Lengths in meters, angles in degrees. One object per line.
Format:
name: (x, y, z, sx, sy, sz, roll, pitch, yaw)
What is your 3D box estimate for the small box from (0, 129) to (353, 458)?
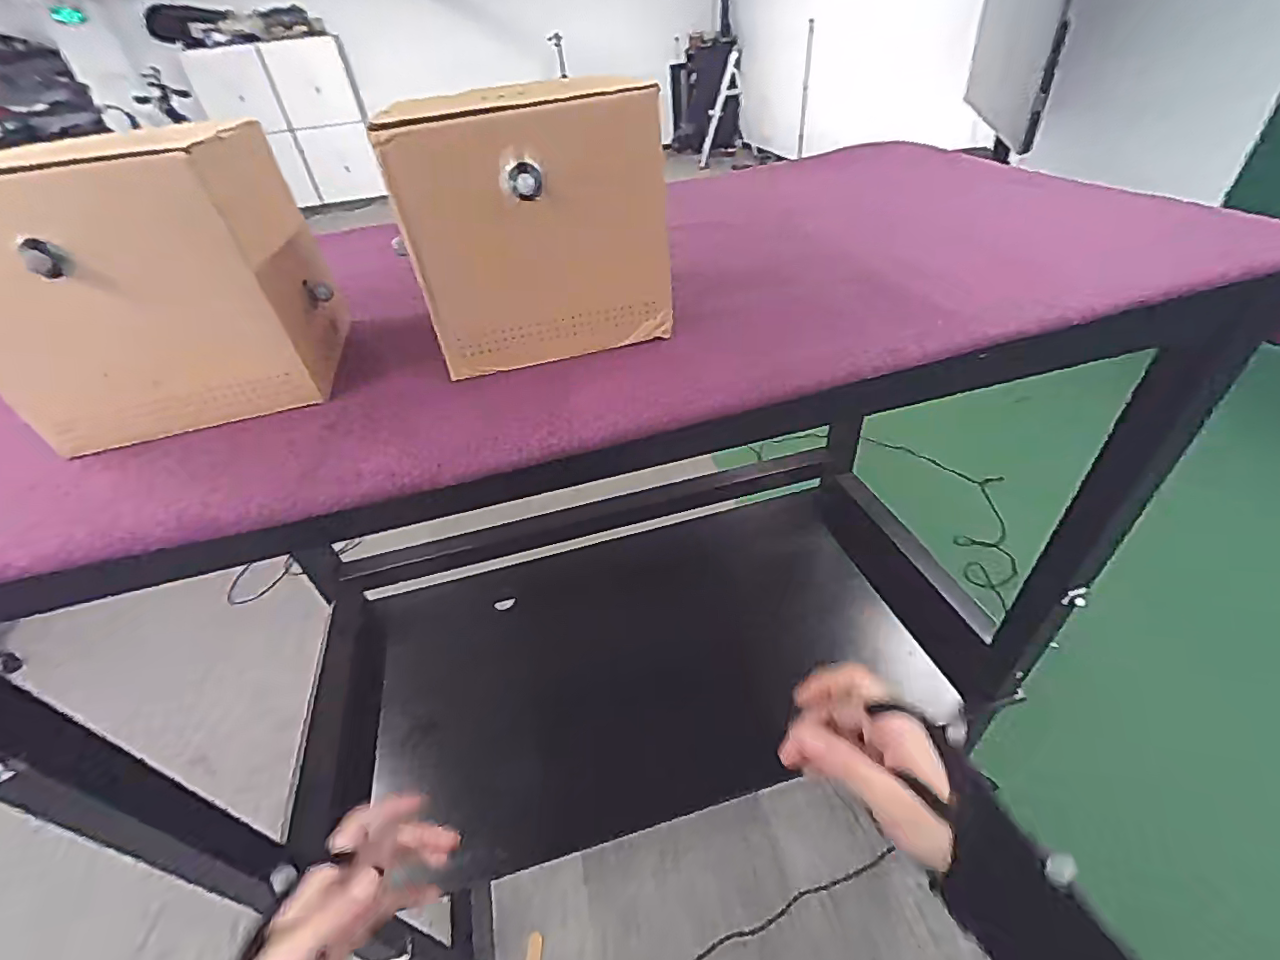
small box: (-0.347, -0.139, 0.400, 0.179, 0.176, 0.168, -16, 42, -8)

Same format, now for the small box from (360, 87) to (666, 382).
small box: (-0.087, -0.195, 0.429, 0.179, 0.176, 0.168, -14, 40, -7)
